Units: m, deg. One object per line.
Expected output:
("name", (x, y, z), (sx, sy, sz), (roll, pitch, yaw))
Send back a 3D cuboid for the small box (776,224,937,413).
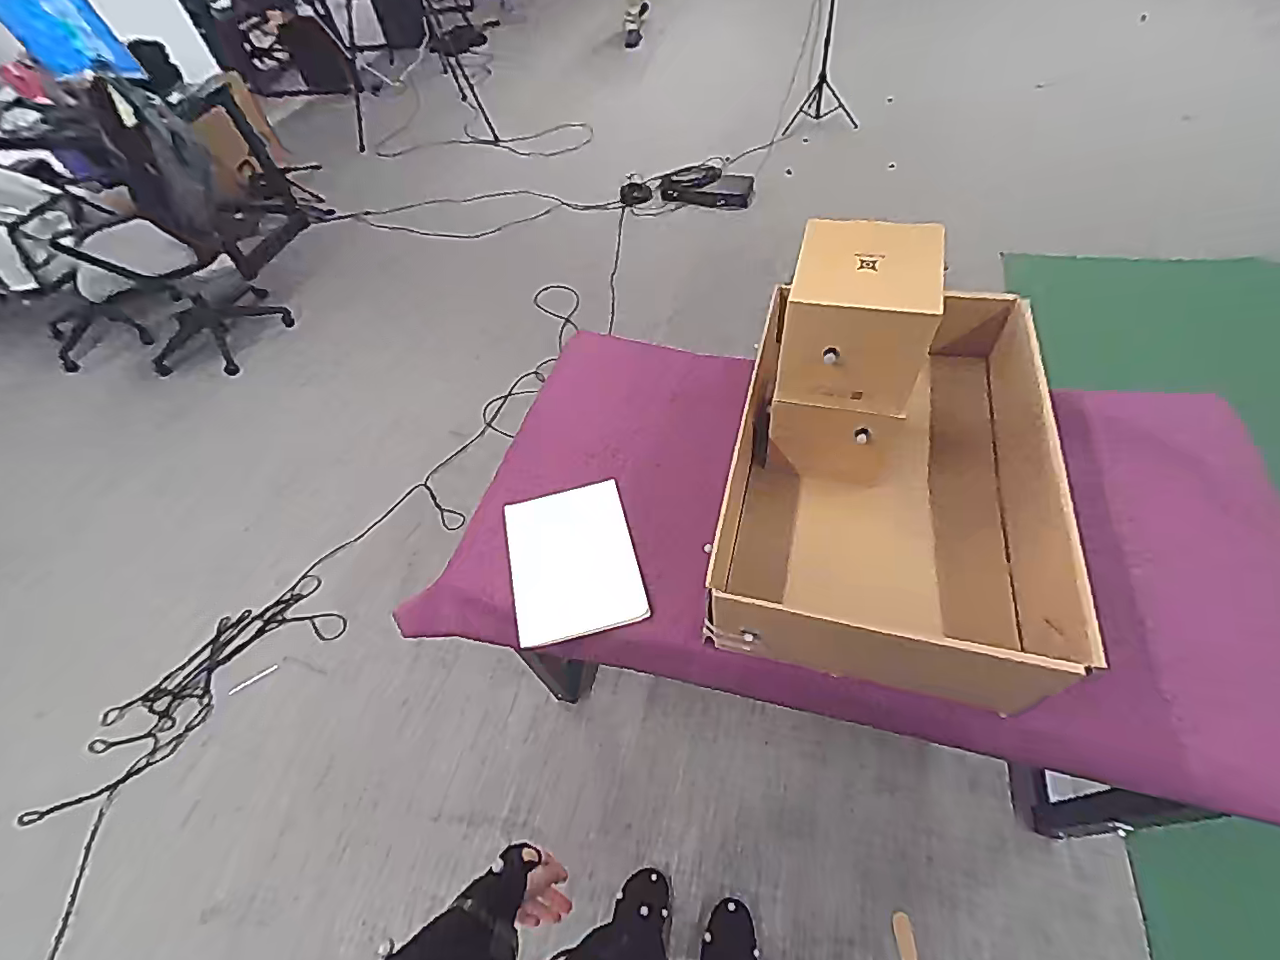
("small box", (0.278, -0.210, 0.713), (0.168, 0.176, 0.179), (10, 56, 16))
